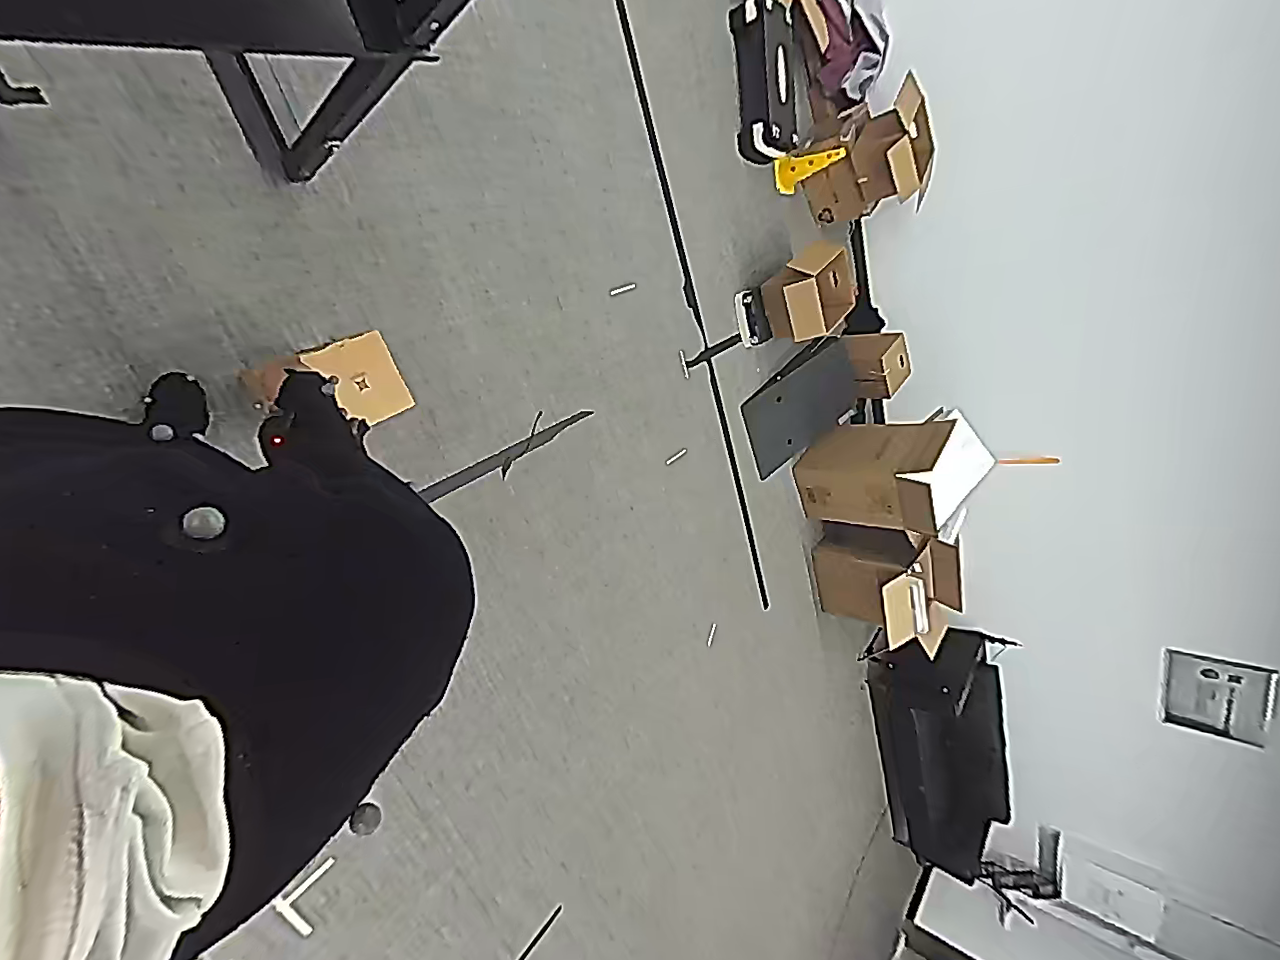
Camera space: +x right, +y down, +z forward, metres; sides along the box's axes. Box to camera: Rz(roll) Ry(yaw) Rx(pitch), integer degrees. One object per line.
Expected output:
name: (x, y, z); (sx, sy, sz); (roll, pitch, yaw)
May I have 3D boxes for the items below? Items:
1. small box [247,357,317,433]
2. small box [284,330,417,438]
small box: (-0.859, -0.230, 1.383); (0.179, 0.176, 0.168); (-37, 118, -37)
small box: (-0.621, -0.205, 1.161); (0.168, 0.176, 0.179); (-39, 120, -37)
